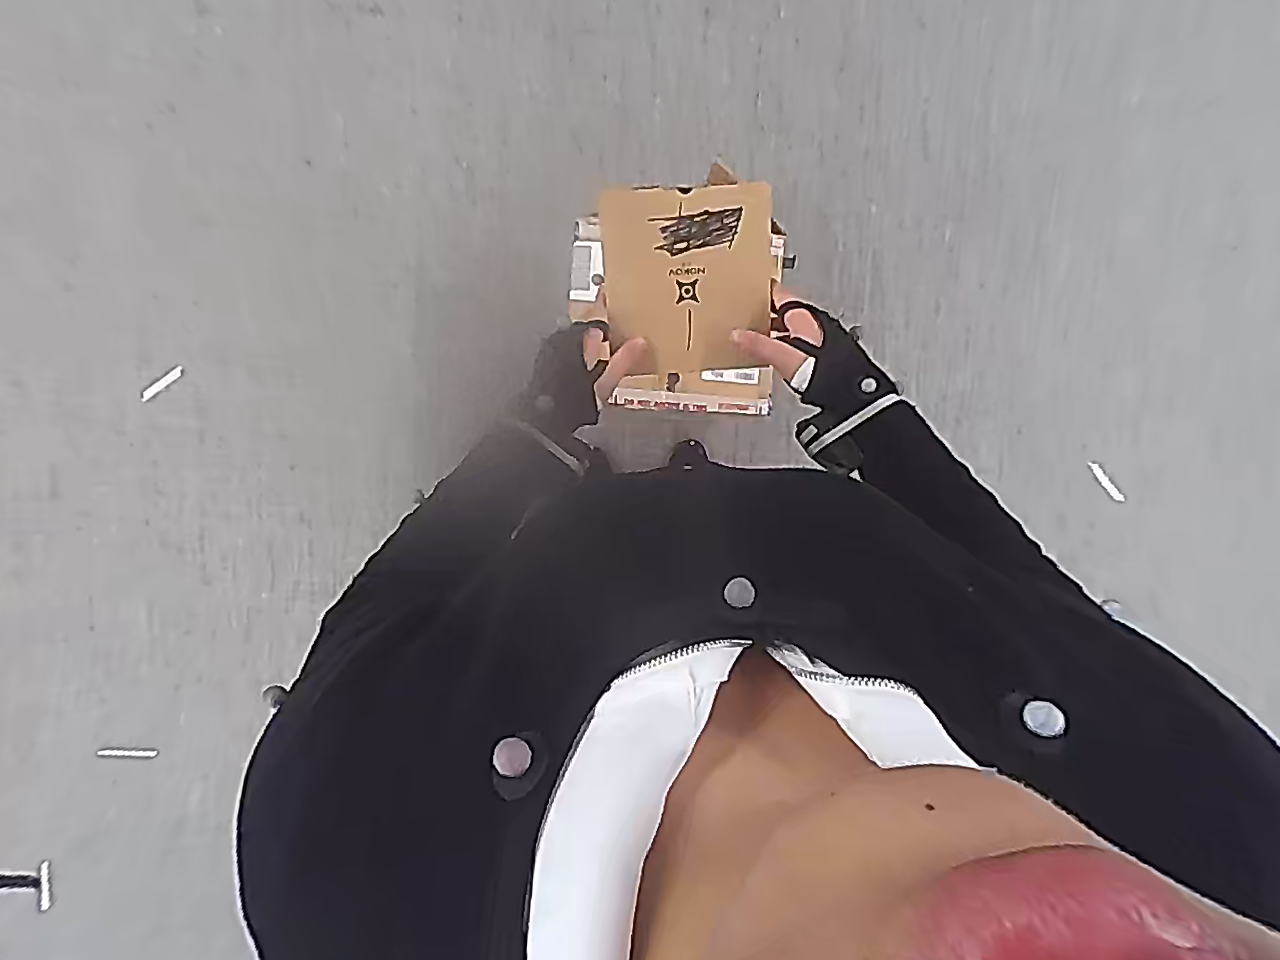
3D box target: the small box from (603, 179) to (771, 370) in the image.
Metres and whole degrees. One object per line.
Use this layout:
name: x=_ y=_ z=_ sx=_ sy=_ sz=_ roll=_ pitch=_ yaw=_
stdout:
small box: x=0.044 y=-0.217 z=0.611 sx=0.168 sy=0.176 sz=0.179 roll=-4 pitch=104 yaw=-2
